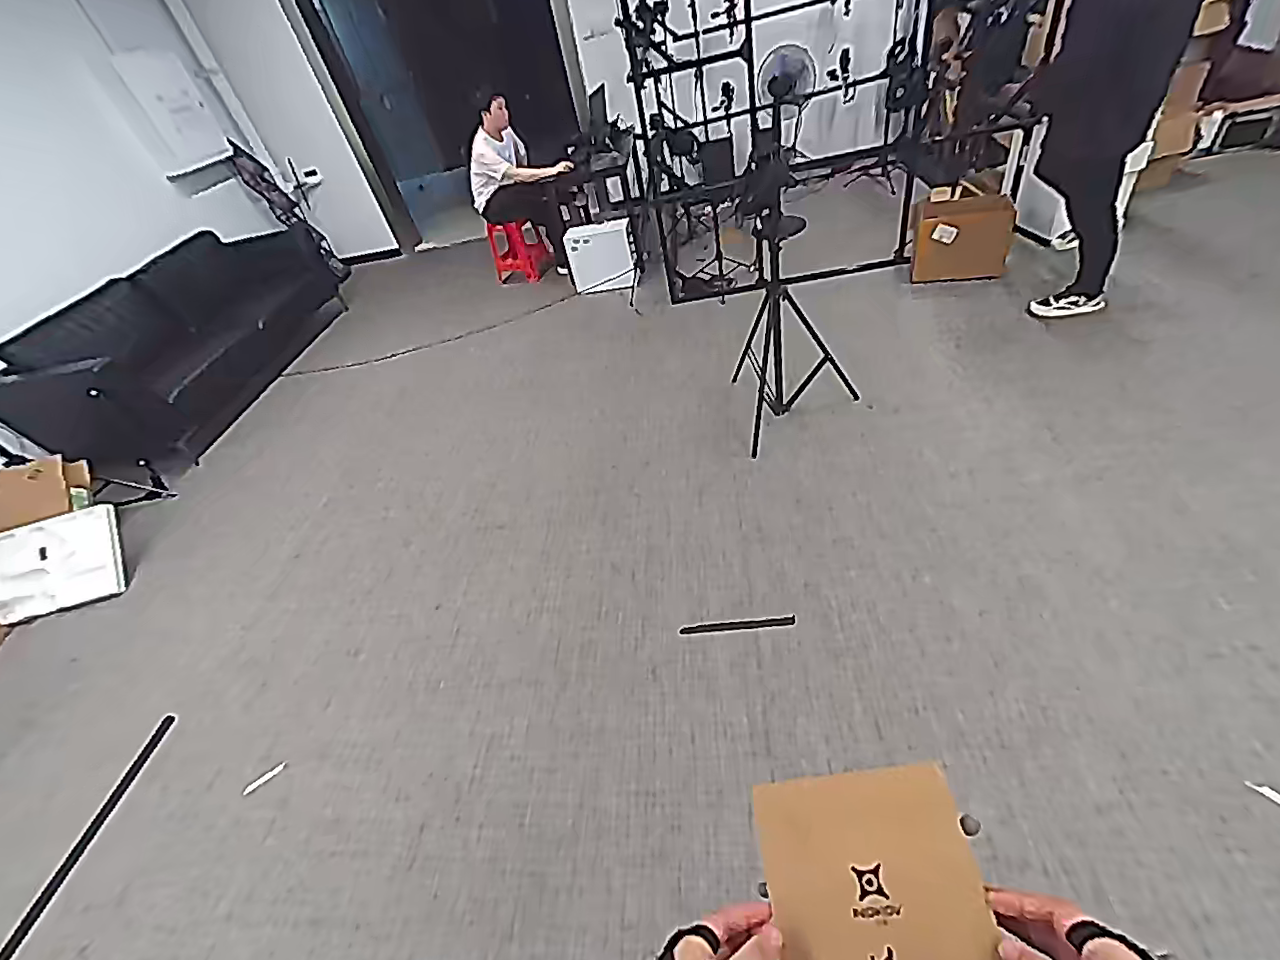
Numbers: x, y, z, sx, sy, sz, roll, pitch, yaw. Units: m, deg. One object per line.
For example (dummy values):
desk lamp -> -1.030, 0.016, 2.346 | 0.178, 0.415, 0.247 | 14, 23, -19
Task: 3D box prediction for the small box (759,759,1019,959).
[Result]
small box -> 0.215, 0.370, 0.483 | 0.168, 0.176, 0.179 | -16, 49, 15
